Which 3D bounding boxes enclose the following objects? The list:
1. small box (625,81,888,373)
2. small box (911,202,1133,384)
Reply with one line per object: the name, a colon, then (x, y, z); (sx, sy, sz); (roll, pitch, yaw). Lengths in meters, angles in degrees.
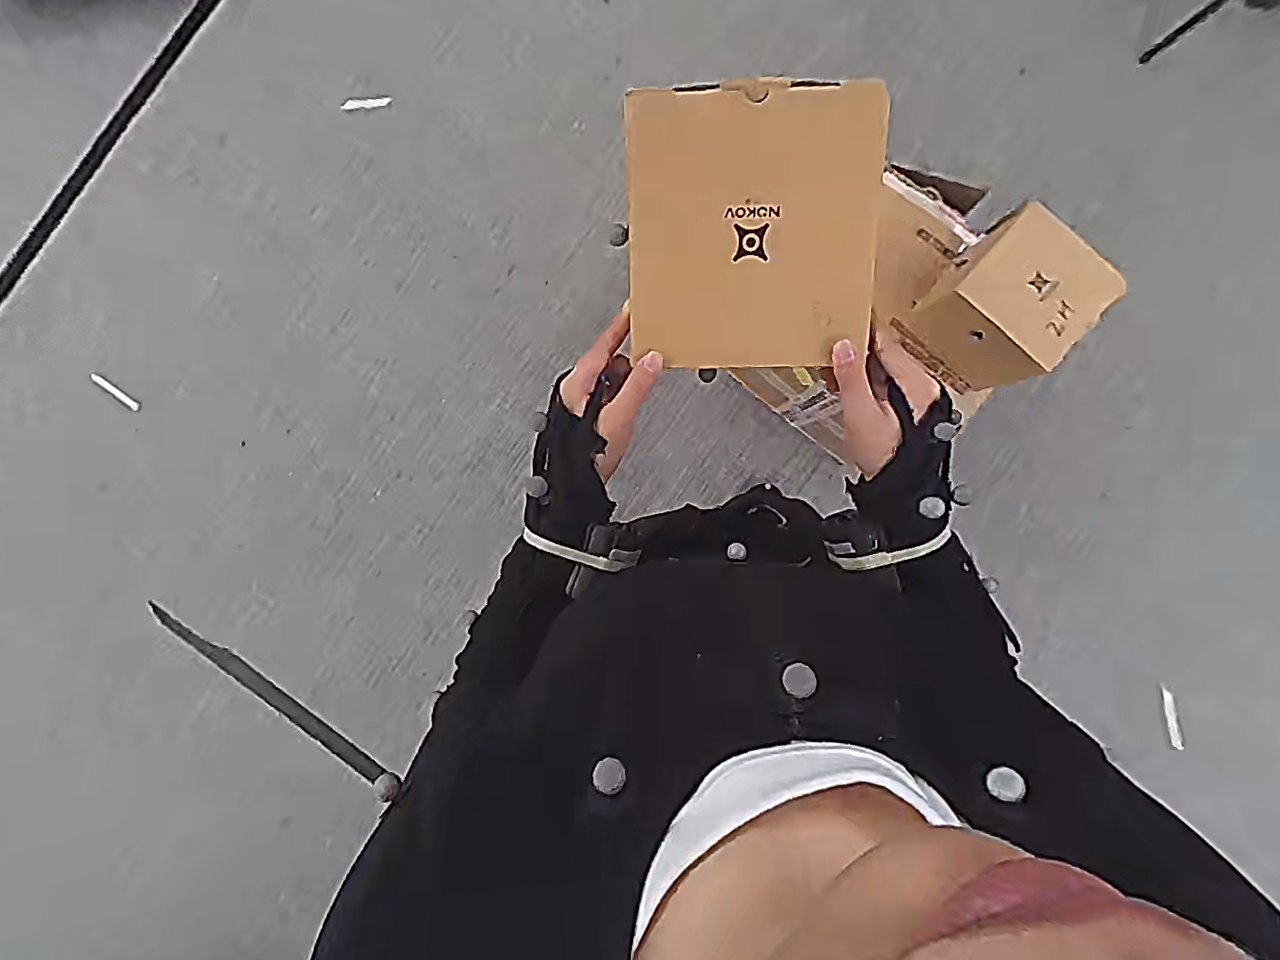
small box: (0.078, -0.182, 0.436); (0.168, 0.176, 0.179); (-1, 104, 3)
small box: (0.556, -0.265, 0.818); (0.179, 0.176, 0.168); (42, 92, 0)
